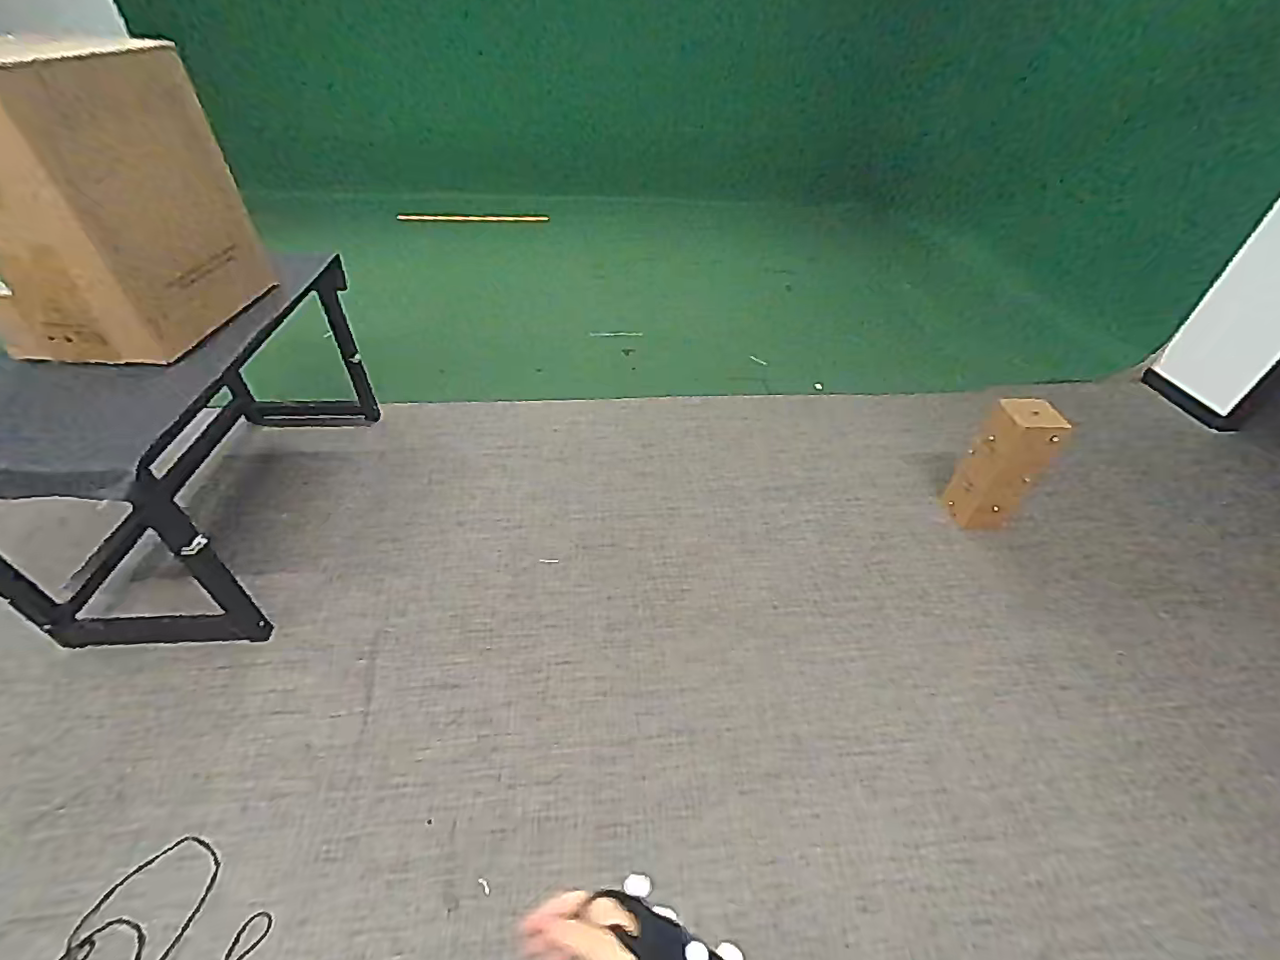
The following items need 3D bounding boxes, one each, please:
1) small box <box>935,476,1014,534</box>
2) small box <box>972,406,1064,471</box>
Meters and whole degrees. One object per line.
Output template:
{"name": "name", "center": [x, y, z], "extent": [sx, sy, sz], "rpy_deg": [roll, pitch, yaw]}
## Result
{"name": "small box", "center": [1.308, 0.100, 2.129], "extent": [0.179, 0.176, 0.168], "rpy_deg": [-2, 43, -5]}
{"name": "small box", "center": [1.325, -0.143, 1.909], "extent": [0.179, 0.176, 0.168], "rpy_deg": [1, 42, -3]}
